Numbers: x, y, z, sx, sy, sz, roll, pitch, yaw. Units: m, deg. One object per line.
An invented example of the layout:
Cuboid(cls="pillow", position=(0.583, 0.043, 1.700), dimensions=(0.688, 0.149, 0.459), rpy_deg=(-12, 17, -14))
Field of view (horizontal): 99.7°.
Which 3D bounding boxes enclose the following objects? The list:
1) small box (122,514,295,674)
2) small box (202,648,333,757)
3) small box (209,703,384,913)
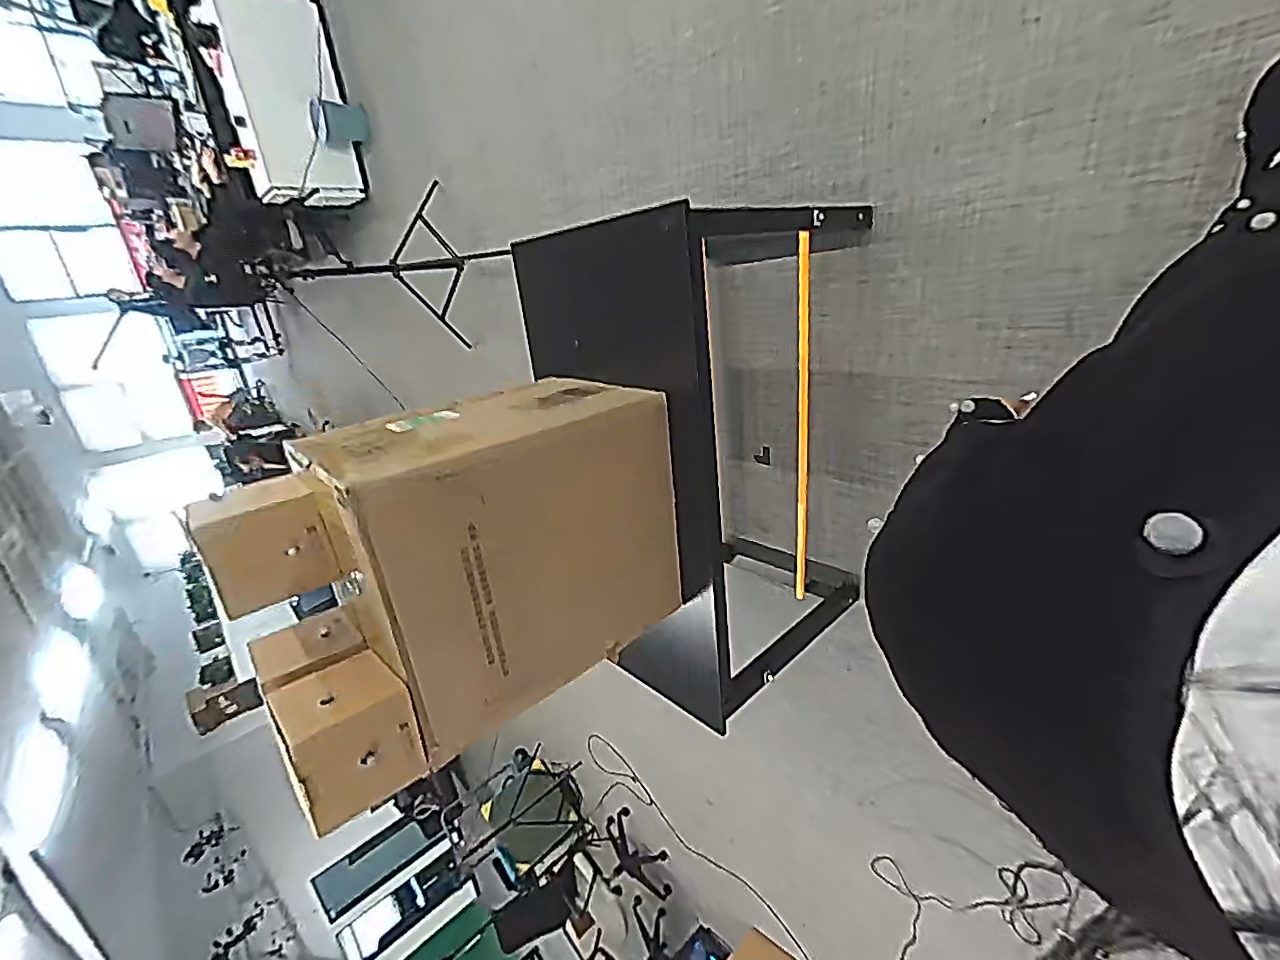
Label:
Cuboid(cls="small box", position=(-0.679, 0.167, 0.865), dimensions=(0.179, 0.176, 0.168), rpy_deg=(16, 122, 48))
Cuboid(cls="small box", position=(-0.639, 0.436, 0.958), dimensions=(0.168, 0.176, 0.179), rpy_deg=(18, 120, 46))
Cuboid(cls="small box", position=(-0.503, 0.468, 0.807), dimensions=(0.179, 0.176, 0.168), rpy_deg=(8, 111, 45))
